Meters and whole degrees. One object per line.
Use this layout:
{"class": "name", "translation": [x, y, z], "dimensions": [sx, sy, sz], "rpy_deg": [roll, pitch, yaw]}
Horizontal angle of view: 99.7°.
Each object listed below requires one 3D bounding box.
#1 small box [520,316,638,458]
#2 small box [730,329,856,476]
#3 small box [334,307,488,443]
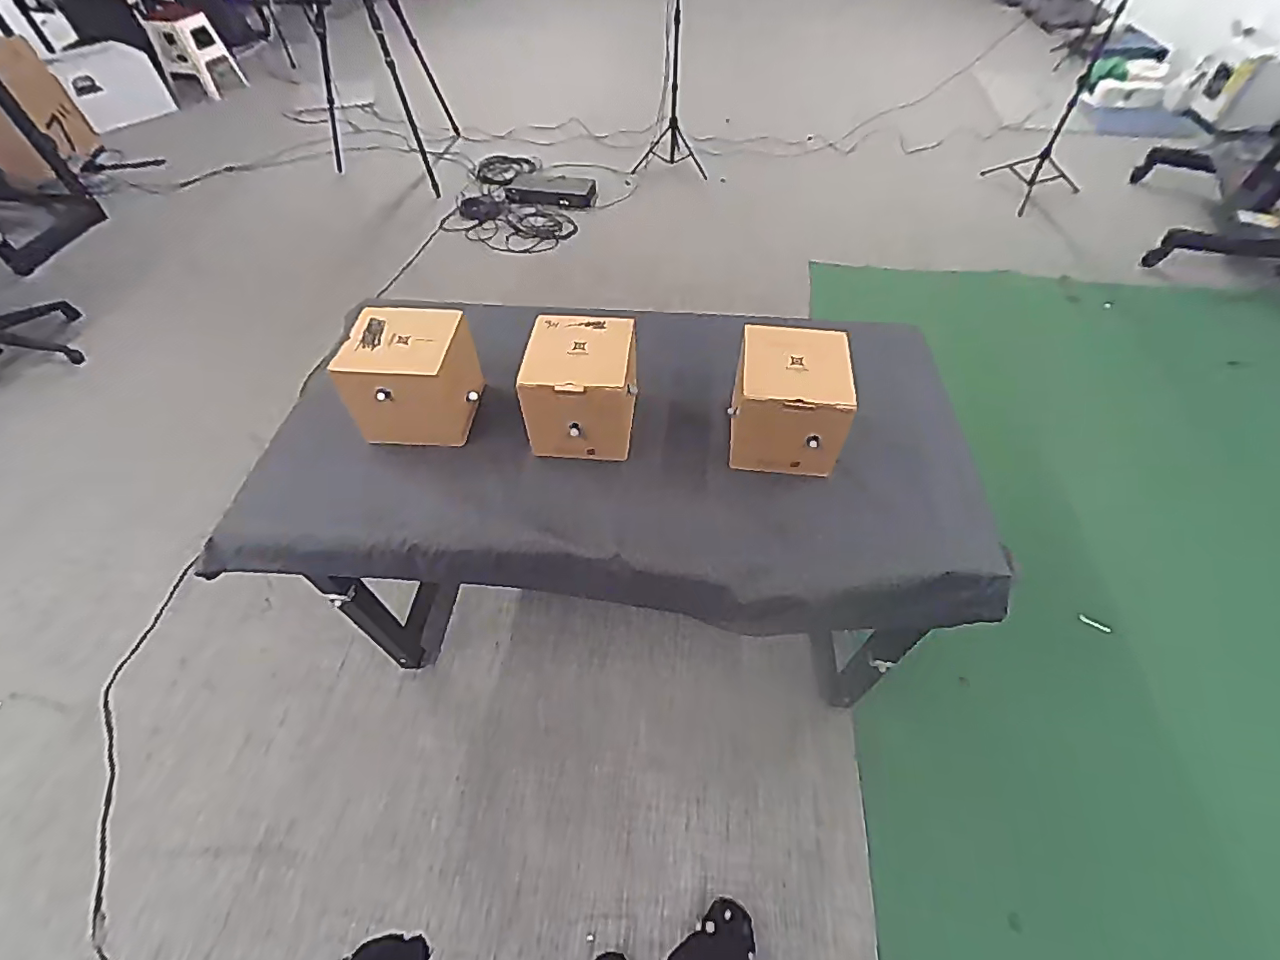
{"class": "small box", "translation": [-0.093, -0.155, 0.925], "dimensions": [0.168, 0.176, 0.179], "rpy_deg": [4, 53, 3]}
{"class": "small box", "translation": [0.244, -0.125, 0.902], "dimensions": [0.168, 0.176, 0.179], "rpy_deg": [6, 51, 4]}
{"class": "small box", "translation": [-0.384, -0.179, 0.944], "dimensions": [0.179, 0.176, 0.168], "rpy_deg": [3, 53, 1]}
